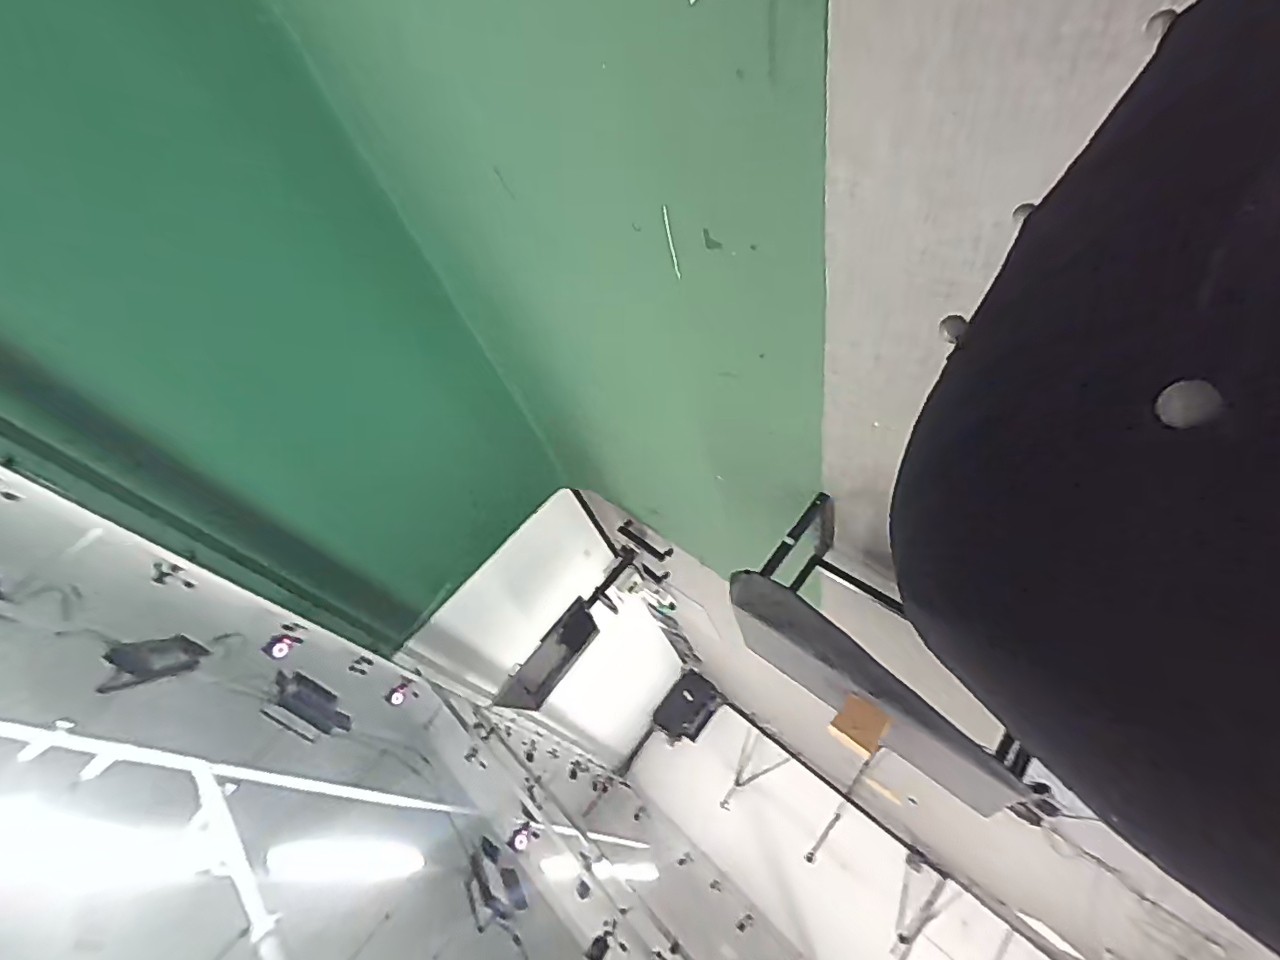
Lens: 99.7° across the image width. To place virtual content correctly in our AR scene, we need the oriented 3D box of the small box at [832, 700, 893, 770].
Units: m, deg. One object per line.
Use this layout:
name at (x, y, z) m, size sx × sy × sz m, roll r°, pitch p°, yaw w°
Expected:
small box at (0.901, 1.031, 2.192) m, size 0.179 × 0.176 × 0.168 m, roll 31°, pitch 158°, yaw 36°
